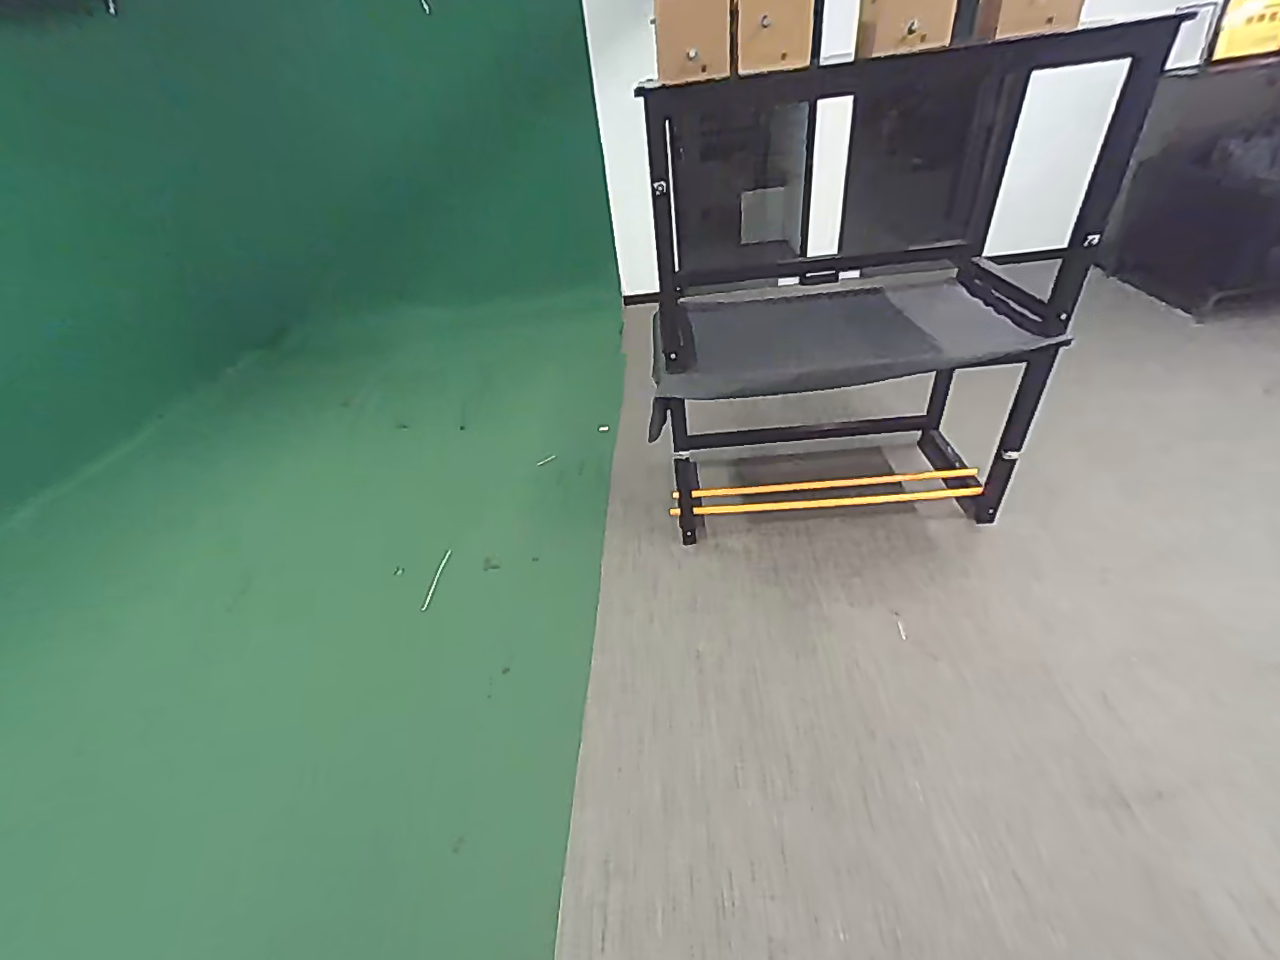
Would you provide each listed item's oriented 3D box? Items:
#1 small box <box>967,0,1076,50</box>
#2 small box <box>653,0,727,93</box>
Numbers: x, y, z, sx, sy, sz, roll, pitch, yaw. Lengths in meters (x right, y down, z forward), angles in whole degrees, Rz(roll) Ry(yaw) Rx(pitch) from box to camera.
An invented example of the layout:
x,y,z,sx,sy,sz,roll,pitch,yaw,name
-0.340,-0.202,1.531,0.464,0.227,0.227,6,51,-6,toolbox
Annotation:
x,y,z,sx,sy,sz,roll,pitch,yaw,name
0.876,-1.101,1.231,0.168,0.176,0.179,1,37,11,small box
0.119,-1.056,1.318,0.168,0.176,0.179,-5,37,3,small box
